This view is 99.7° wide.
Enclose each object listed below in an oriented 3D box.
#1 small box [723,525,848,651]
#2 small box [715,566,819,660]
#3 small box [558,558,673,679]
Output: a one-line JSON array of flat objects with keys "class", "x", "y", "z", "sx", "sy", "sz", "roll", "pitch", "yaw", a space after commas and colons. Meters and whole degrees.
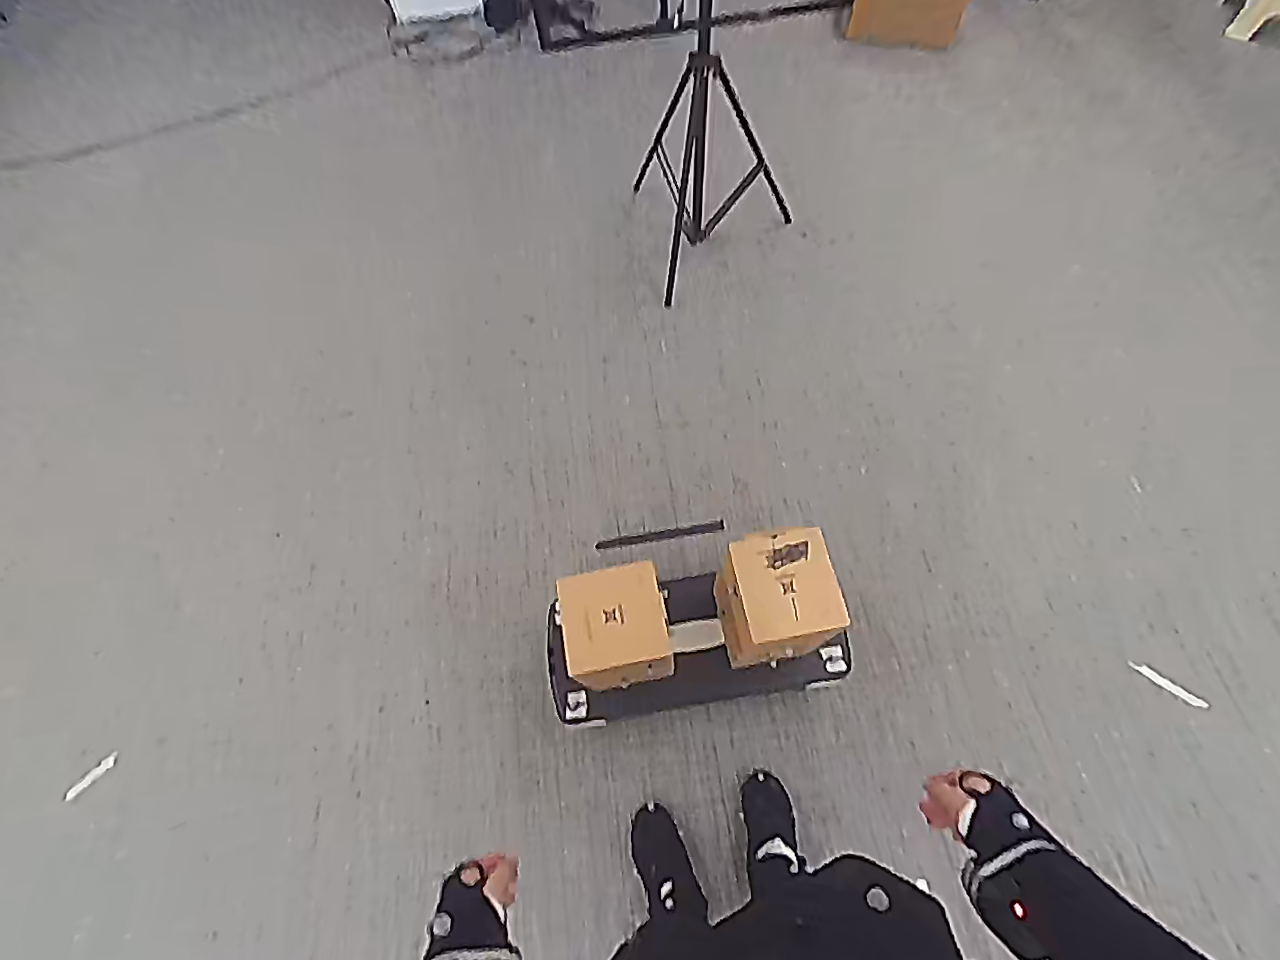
[{"class": "small box", "x": 0.253, "y": 0.202, "z": 0.991, "sx": 0.168, "sy": 0.176, "sz": 0.179, "roll": -11, "pitch": 66, "yaw": 0}, {"class": "small box", "x": 0.255, "y": 0.275, "z": 1.139, "sx": 0.168, "sy": 0.176, "sz": 0.179, "roll": -11, "pitch": 66, "yaw": 0}, {"class": "small box", "x": -0.041, "y": 0.258, "z": 0.988, "sx": 0.179, "sy": 0.176, "sz": 0.168, "roll": -12, "pitch": 65, "yaw": -2}]
